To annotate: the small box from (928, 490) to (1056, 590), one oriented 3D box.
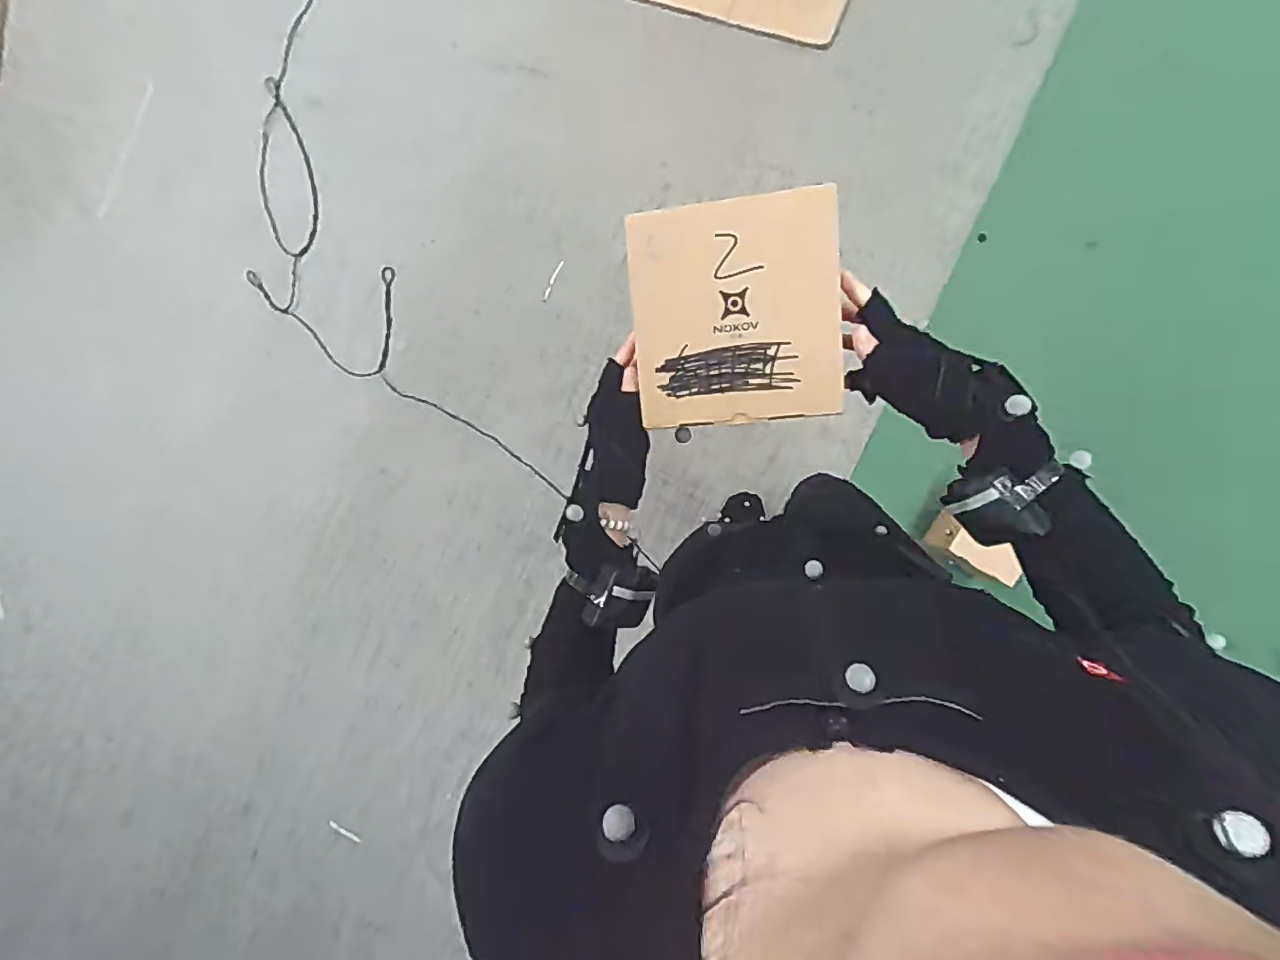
[{"bbox_3d":[0.841,0.139,1.316,0.168,0.176,0.179,32,93,7],"label":"small box"}]
